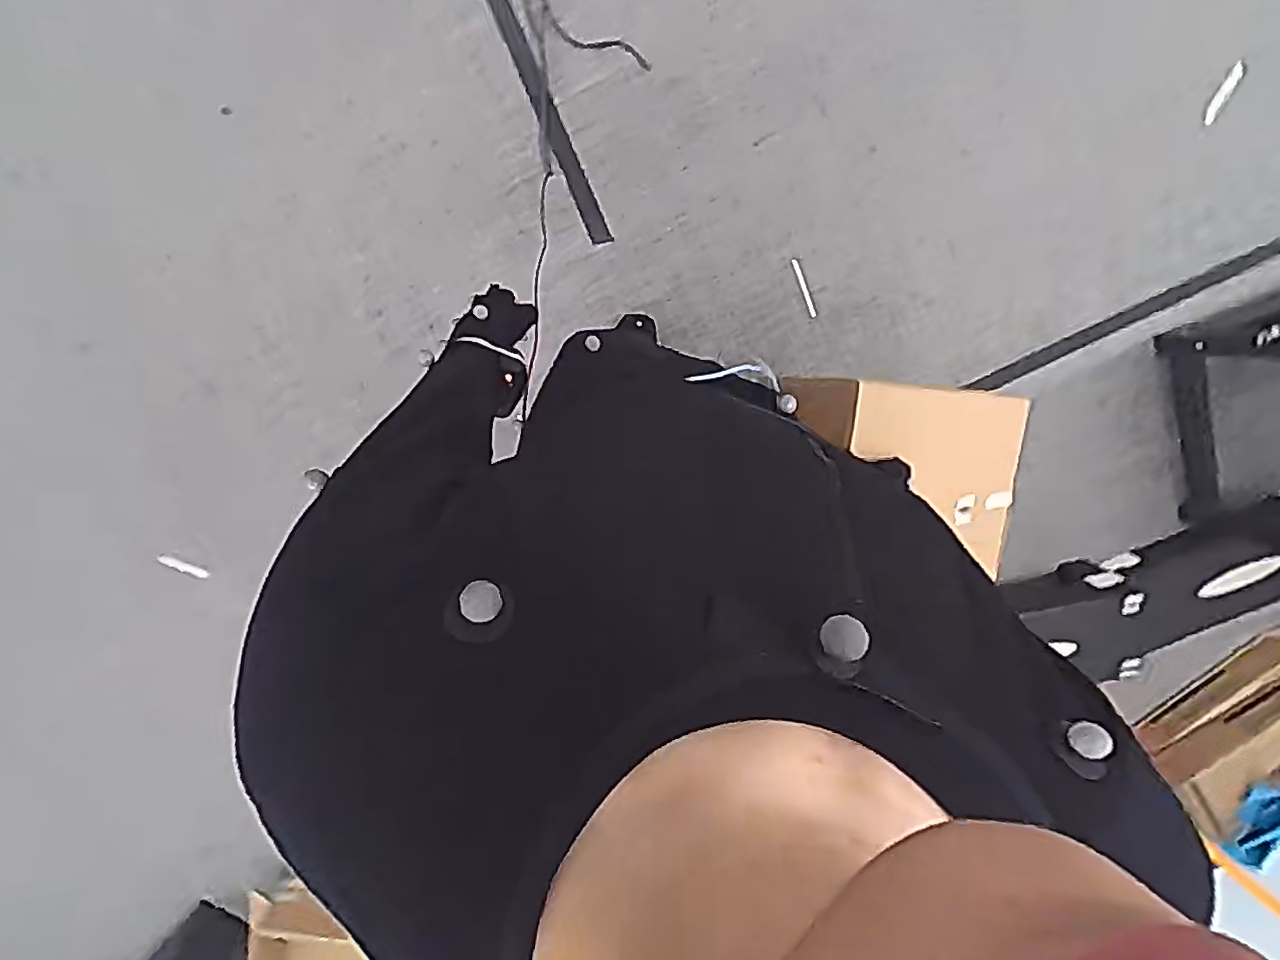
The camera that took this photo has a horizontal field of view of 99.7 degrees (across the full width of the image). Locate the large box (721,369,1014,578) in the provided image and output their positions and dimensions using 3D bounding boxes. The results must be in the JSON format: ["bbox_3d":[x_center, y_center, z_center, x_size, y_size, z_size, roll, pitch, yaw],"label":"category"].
[{"bbox_3d":[0.379,-0.036,0.999,0.320,0.408,0.320,2,101,-14],"label":"large box"}]
